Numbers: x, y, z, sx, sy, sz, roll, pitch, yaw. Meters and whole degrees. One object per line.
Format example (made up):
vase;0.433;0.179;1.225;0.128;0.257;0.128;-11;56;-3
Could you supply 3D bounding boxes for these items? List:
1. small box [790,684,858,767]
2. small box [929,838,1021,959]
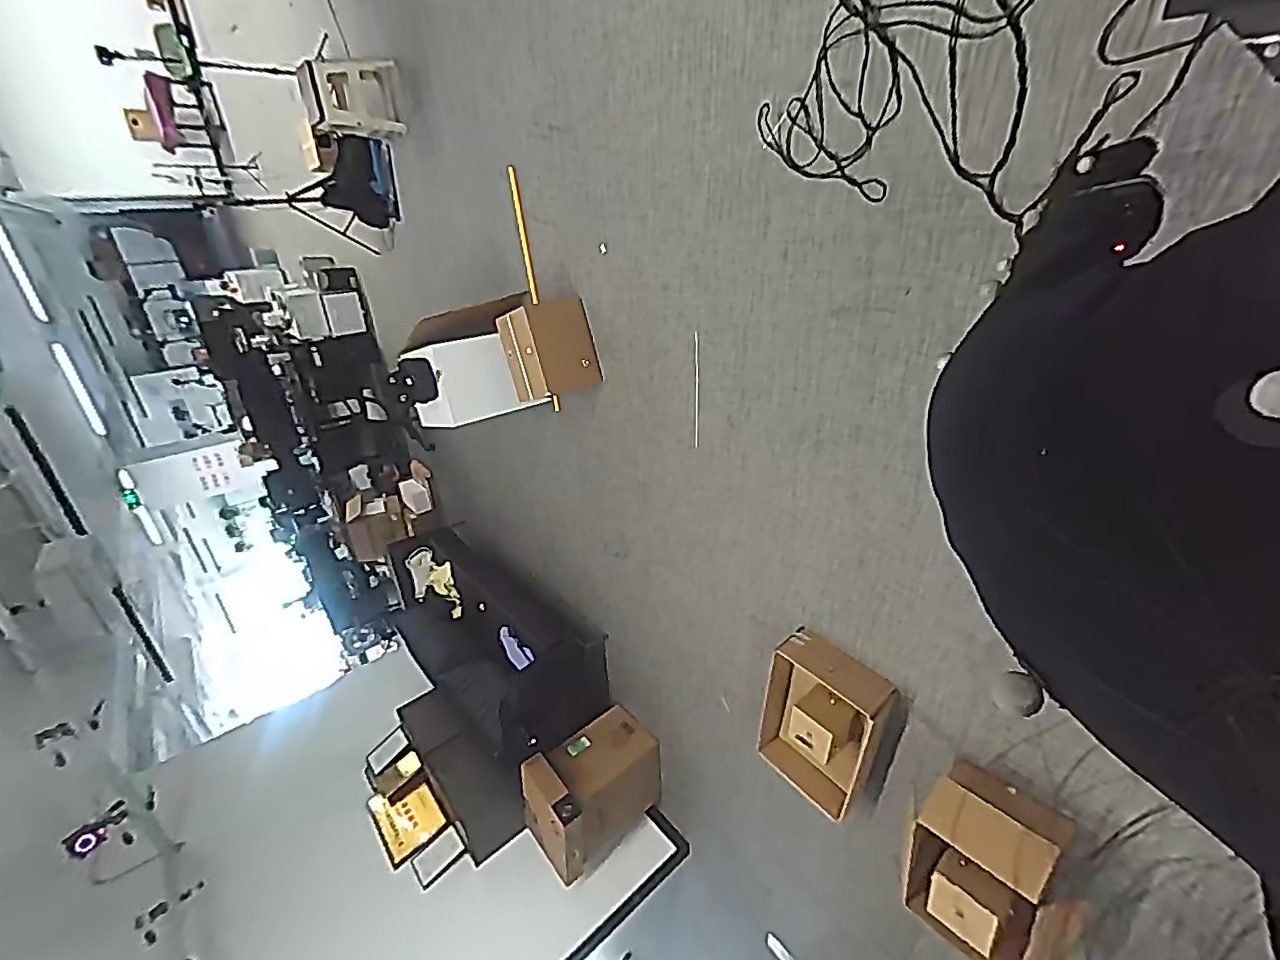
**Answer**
small box;0.675;0.895;1.982;0.168;0.176;0.179;28;130;43
small box;0.951;1.175;1.533;0.168;0.176;0.179;20;122;48
